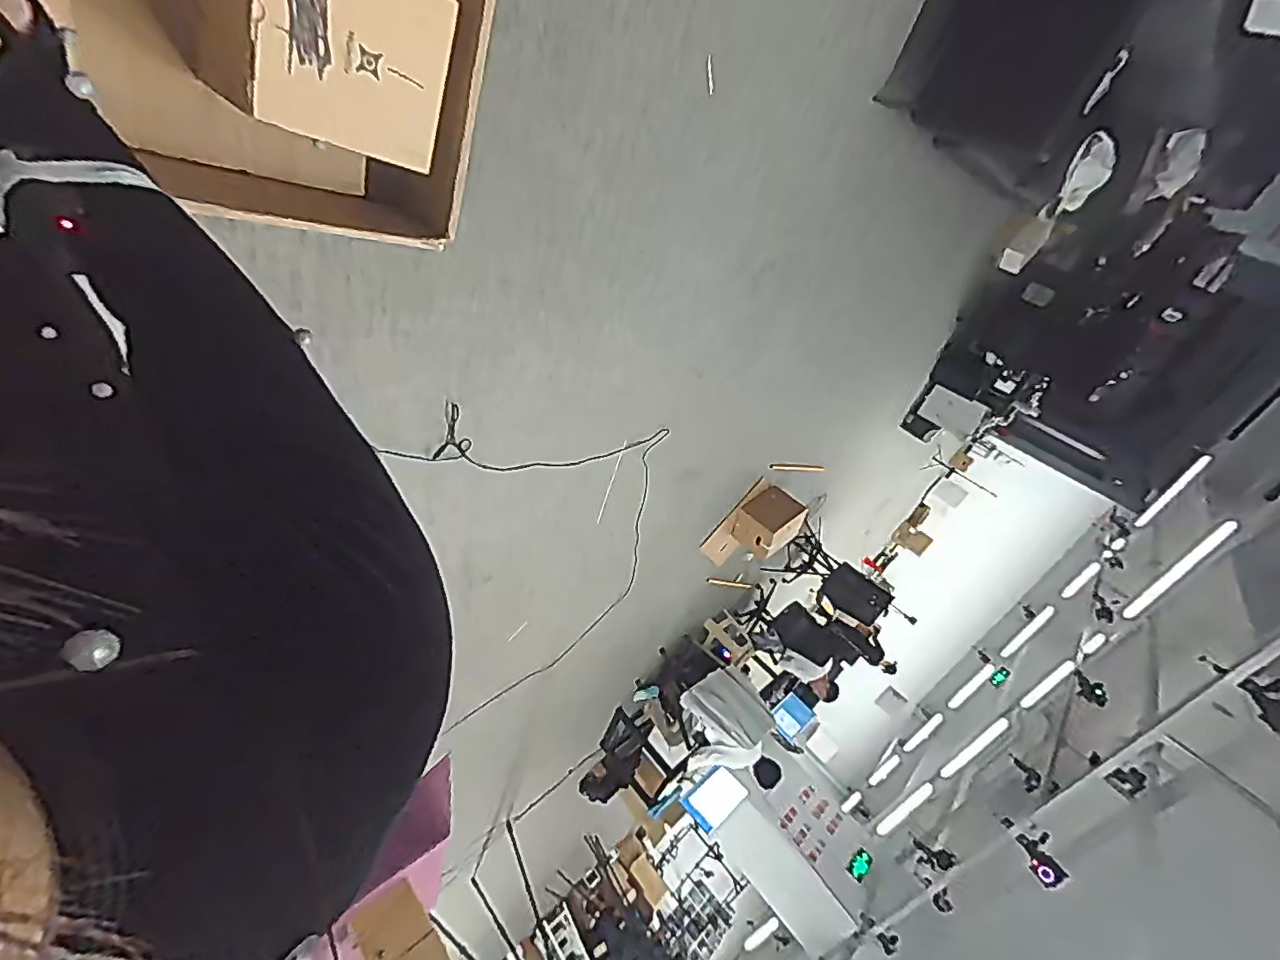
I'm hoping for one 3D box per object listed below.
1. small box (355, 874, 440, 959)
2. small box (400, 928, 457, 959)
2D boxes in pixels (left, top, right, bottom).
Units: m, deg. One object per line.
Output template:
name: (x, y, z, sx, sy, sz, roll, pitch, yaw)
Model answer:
small box: (-0.706, 1.302, 1.571, 0.179, 0.176, 0.168, -18, 139, -41)
small box: (-0.596, 1.399, 1.495, 0.168, 0.176, 0.179, -18, 139, -40)
